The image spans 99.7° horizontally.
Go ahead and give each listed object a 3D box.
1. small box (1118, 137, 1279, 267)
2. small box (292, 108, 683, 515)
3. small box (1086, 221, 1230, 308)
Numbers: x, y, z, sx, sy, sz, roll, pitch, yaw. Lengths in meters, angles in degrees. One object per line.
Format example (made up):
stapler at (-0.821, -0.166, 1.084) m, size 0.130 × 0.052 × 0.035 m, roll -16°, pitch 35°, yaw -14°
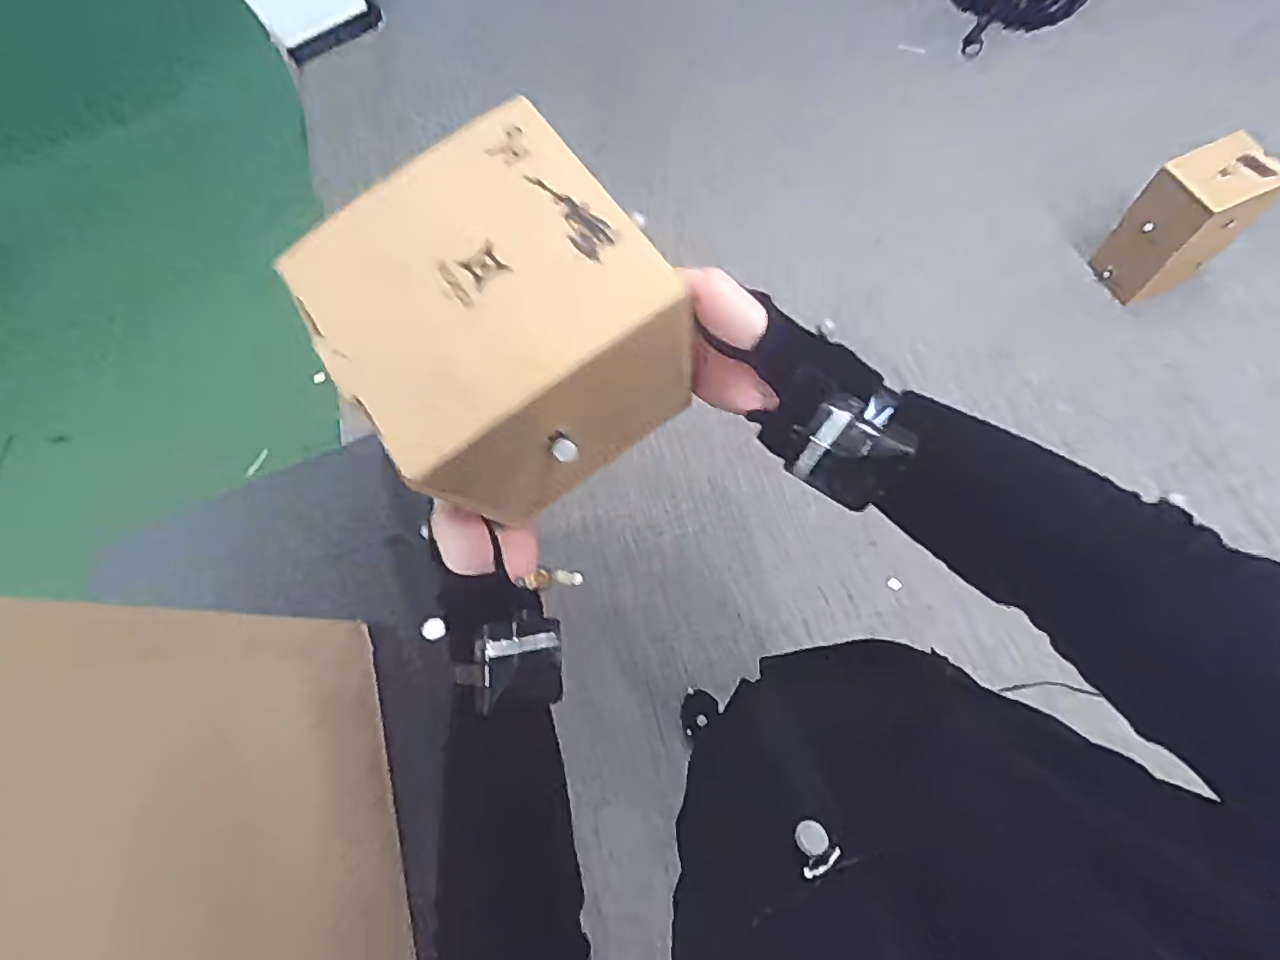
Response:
small box at (1.285, -0.637, 1.253) m, size 0.179 × 0.176 × 0.168 m, roll -23°, pitch 67°, yaw 5°
small box at (-0.081, -0.092, 0.378) m, size 0.179 × 0.176 × 0.168 m, roll -35°, pitch 78°, yaw -2°
small box at (1.328, -0.586, 1.403) m, size 0.179 × 0.176 × 0.168 m, roll -23°, pitch 67°, yaw 6°
